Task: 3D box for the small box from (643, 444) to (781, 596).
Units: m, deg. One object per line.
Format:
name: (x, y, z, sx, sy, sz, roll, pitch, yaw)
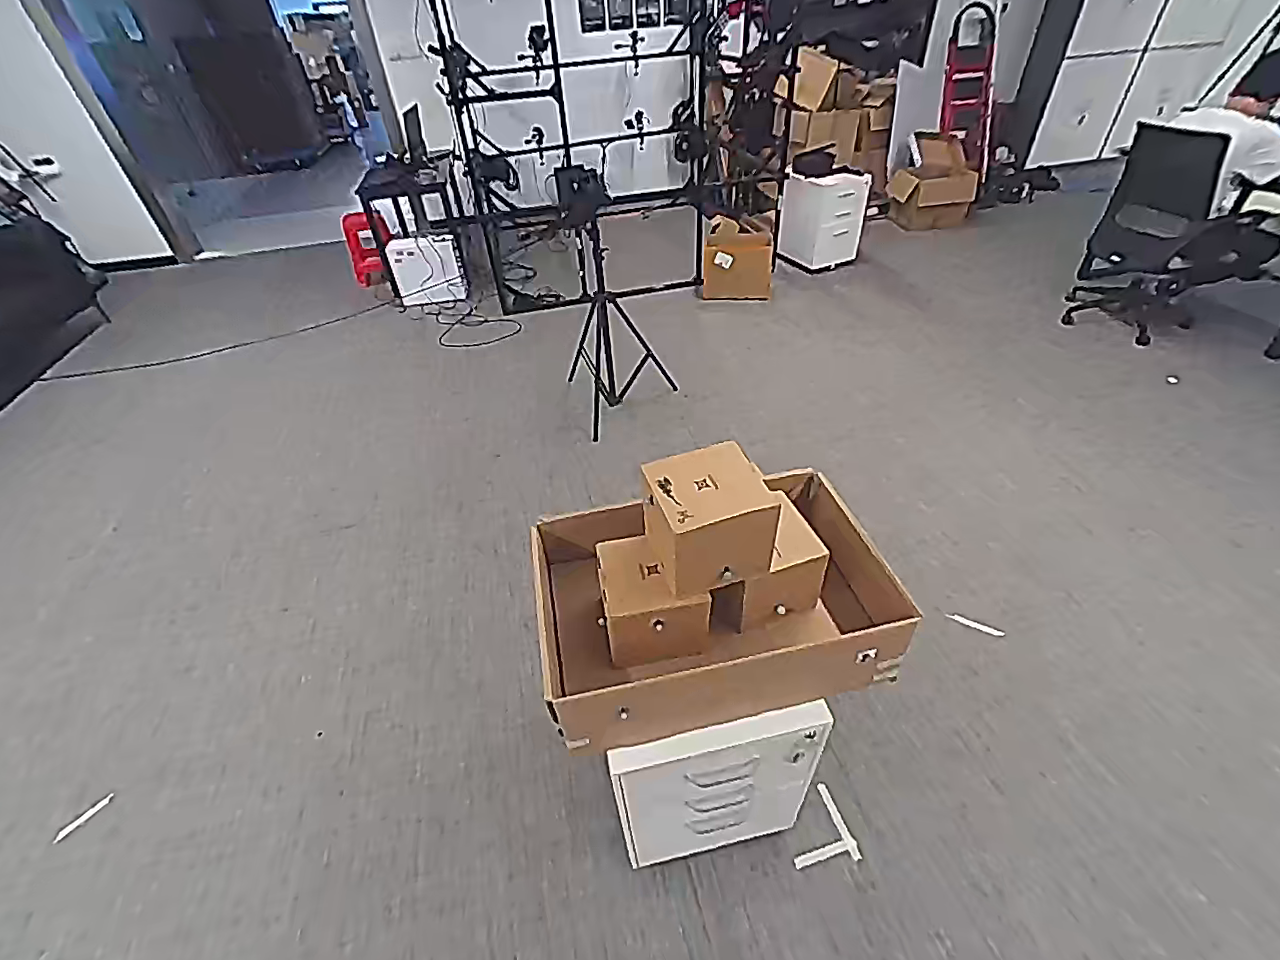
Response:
small box: (0.112, 0.068, 0.913, 0.179, 0.176, 0.168, -14, 43, -11)
